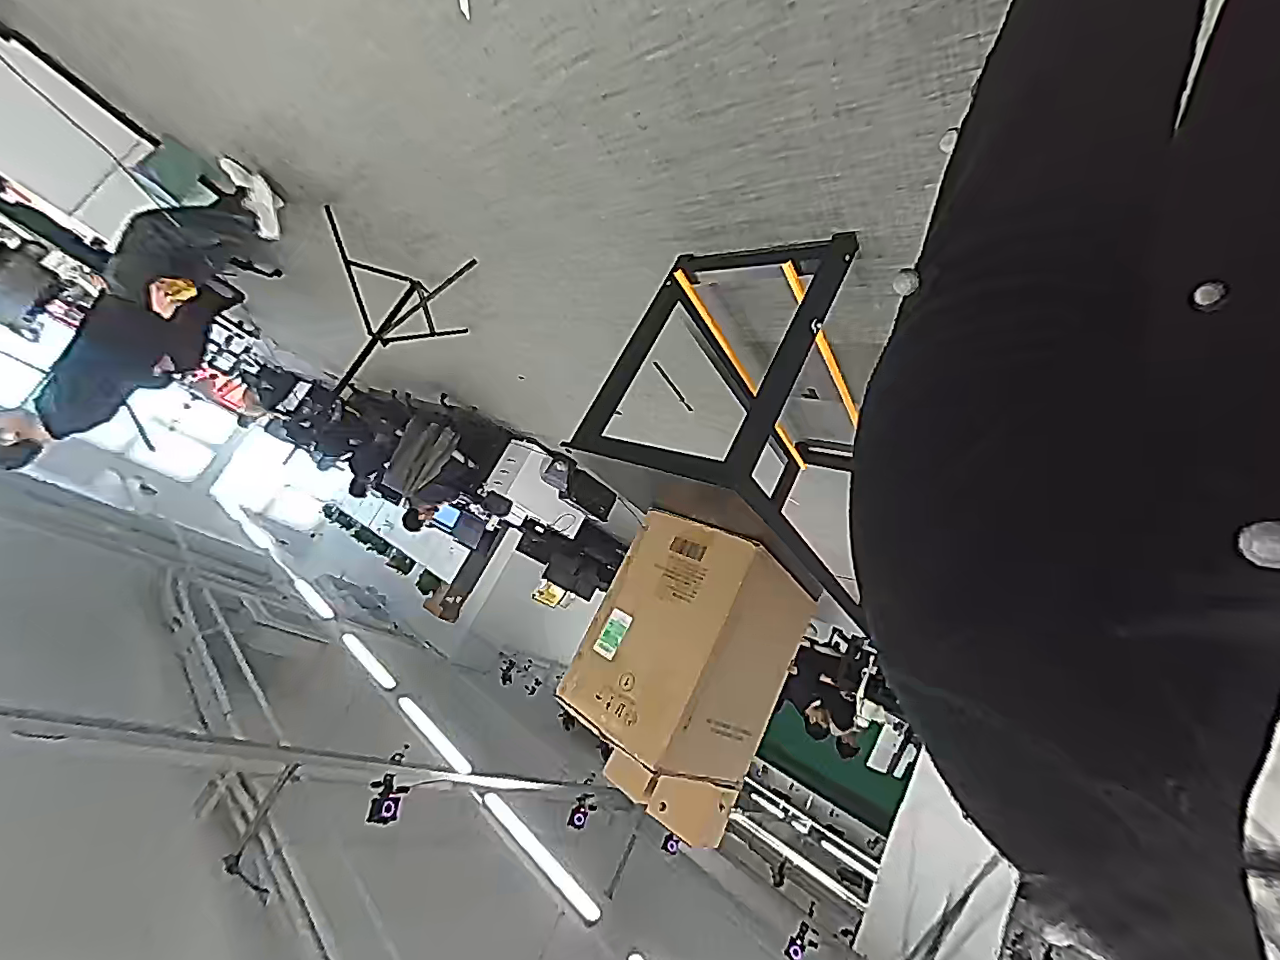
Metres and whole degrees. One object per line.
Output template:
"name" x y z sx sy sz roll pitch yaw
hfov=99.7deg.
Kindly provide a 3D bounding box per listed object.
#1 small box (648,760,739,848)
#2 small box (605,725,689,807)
"small box" 0.160 0.941 1.584 0.179 0.176 0.168 12 159 42
"small box" 0.028 0.914 1.731 0.168 0.176 0.179 18 162 42
